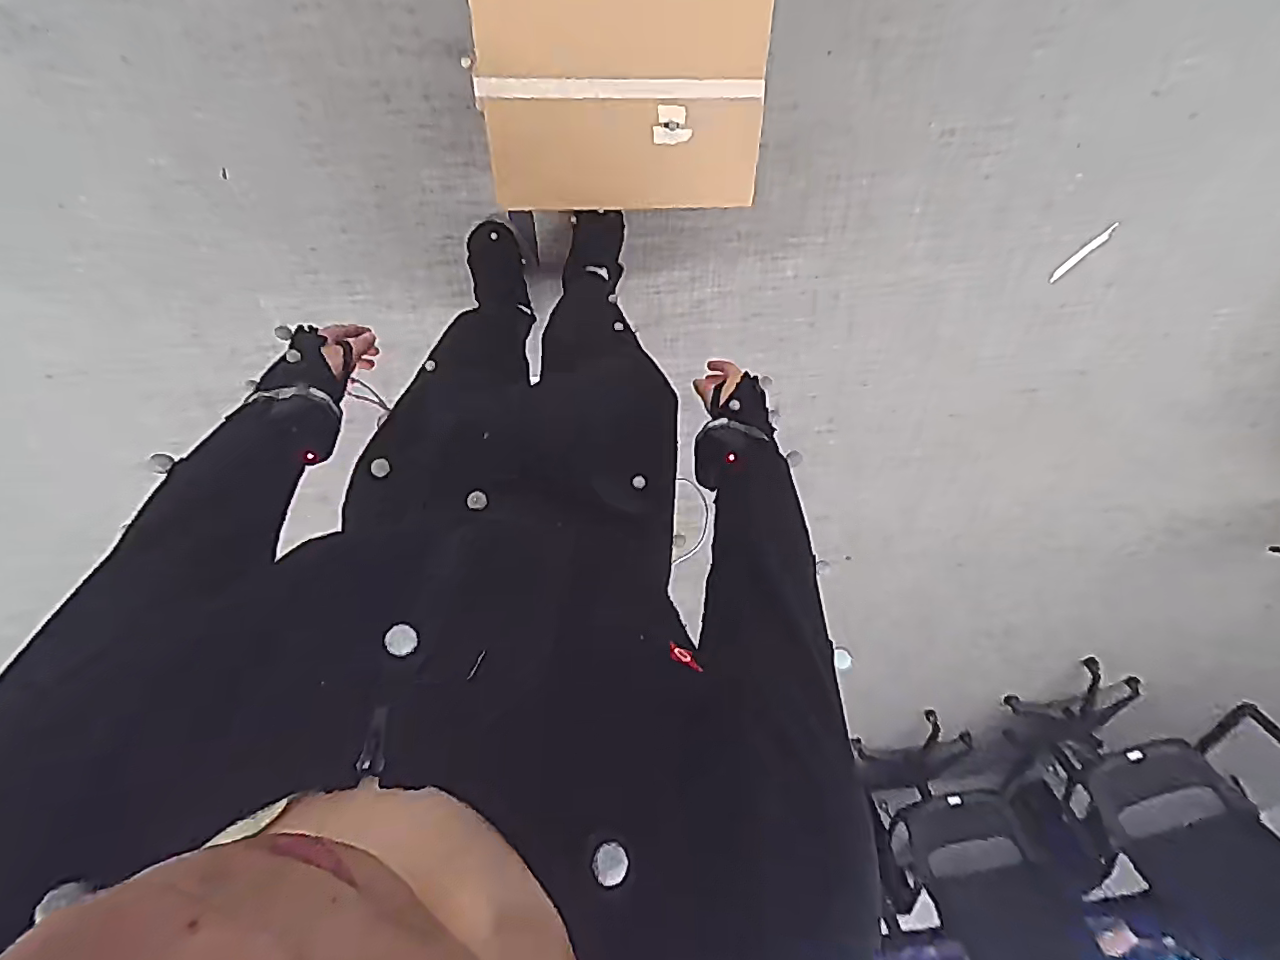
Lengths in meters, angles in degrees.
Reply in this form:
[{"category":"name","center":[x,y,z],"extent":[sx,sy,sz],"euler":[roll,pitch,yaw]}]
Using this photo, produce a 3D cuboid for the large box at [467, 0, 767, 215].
[{"category":"large box","center":[-0.045,-0.638,0.885],"extent":[0.408,0.320,0.320],"euler":[-5,127,-7]}]
